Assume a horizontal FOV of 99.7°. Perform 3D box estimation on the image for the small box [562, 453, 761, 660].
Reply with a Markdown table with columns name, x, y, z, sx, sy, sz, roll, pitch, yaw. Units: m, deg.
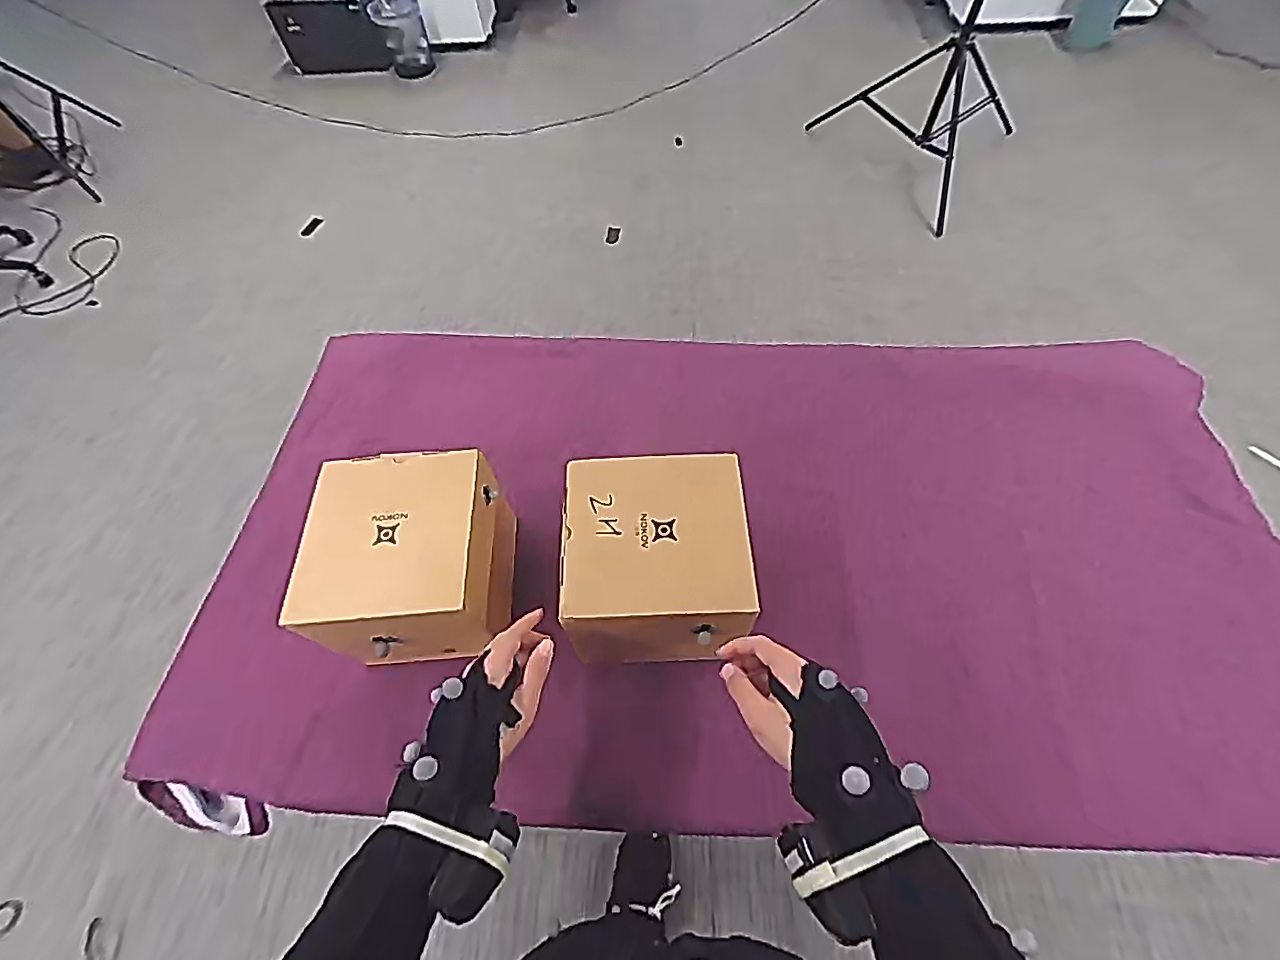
| name | x | y | z | sx | sy | sz | roll | pitch | yaw |
| --- | --- | --- | --- | --- | --- | --- | --- | --- | --- |
| small box | 0.019 | 0.087 | 0.576 | 0.179 | 0.176 | 0.168 | -3 | 58 | 1 |

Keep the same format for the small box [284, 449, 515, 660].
| name | x | y | z | sx | sy | sz | roll | pitch | yaw |
| --- | --- | --- | --- | --- | --- | --- | --- | --- | --- |
| small box | -0.238 | 0.090 | 0.590 | 0.168 | 0.176 | 0.179 | -5 | 58 | 0 |
